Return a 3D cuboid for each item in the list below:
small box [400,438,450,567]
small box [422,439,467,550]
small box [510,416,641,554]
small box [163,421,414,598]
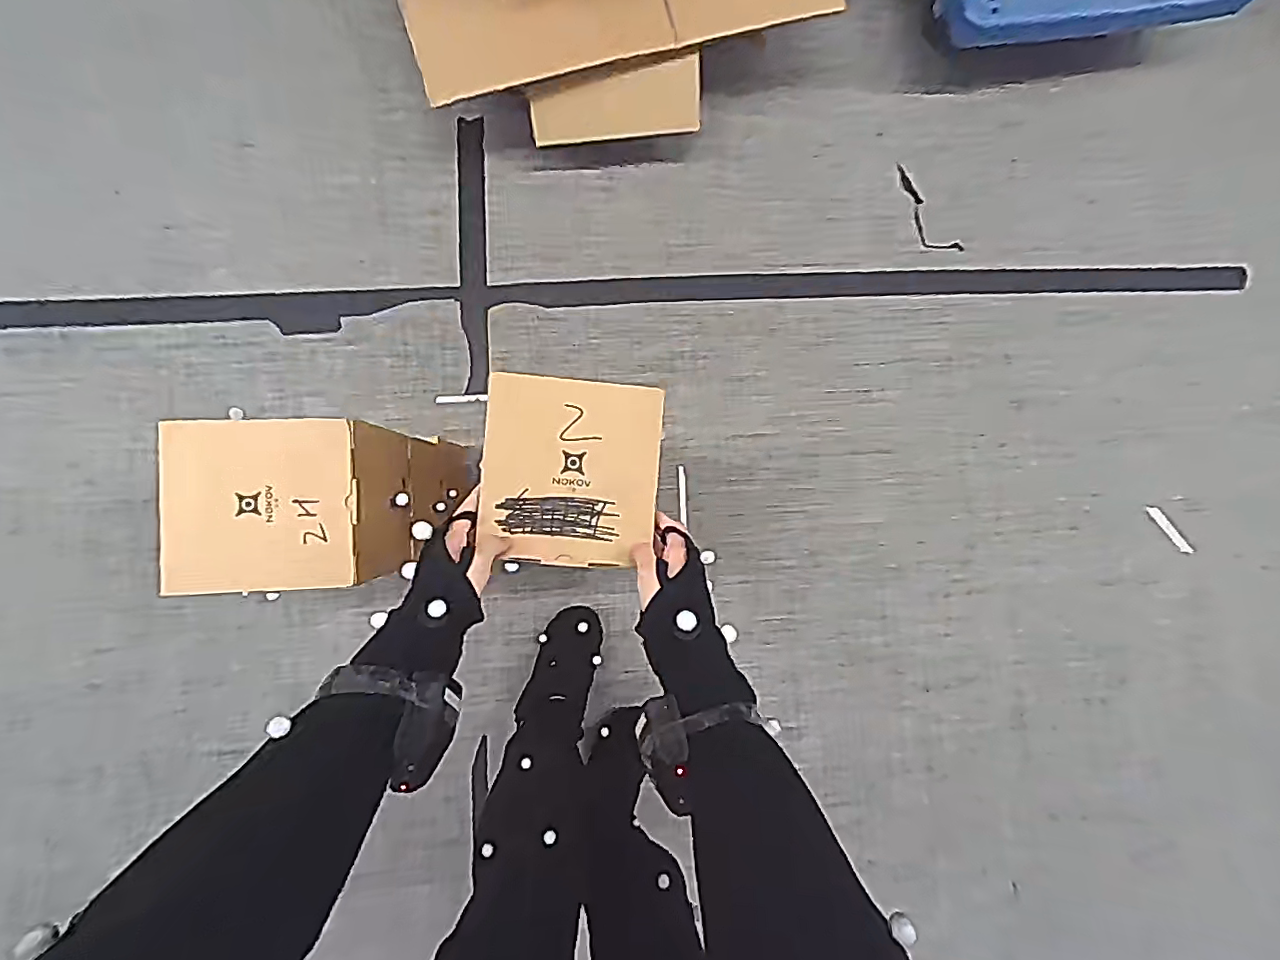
[{"bbox_3d":[-0.376,0.033,0.751,0.179,0.176,0.168,-2,89,-6],"label":"small box"},{"bbox_3d":[-0.394,0.028,0.912,0.168,0.176,0.179,-3,88,-6],"label":"small box"},{"bbox_3d":[-0.087,0.008,0.773,0.168,0.176,0.179,1,88,-5],"label":"small box"},{"bbox_3d":[-0.362,0.029,0.587,0.179,0.176,0.168,-2,90,-6],"label":"small box"}]
